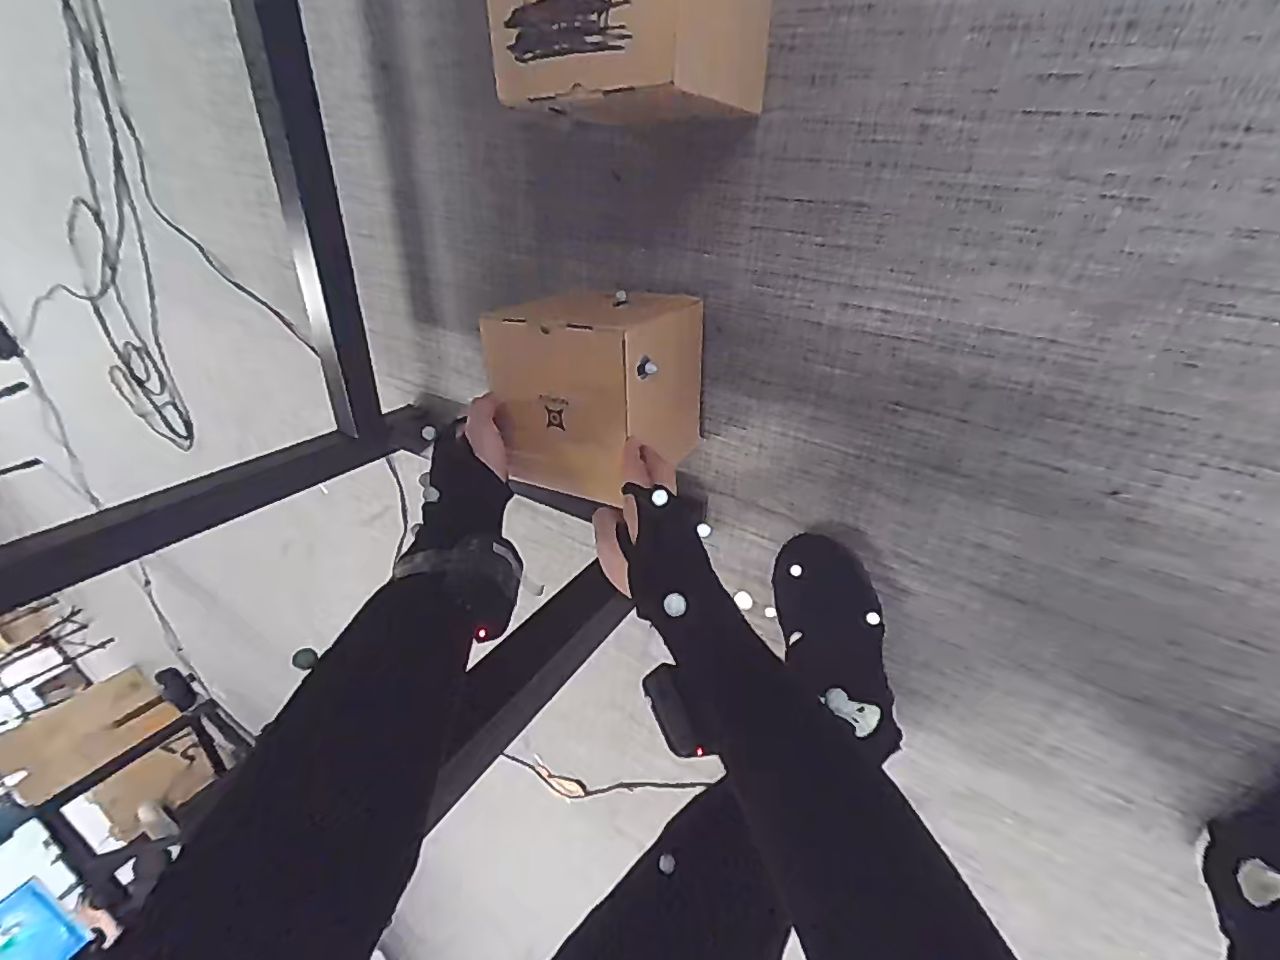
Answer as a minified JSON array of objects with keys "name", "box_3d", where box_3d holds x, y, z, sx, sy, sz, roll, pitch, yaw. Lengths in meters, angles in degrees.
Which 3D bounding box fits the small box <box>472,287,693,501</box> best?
[{"name":"small box","box_3d":[-0.050,-0.104,0.584,0.168,0.176,0.179,13,119,27]}]
